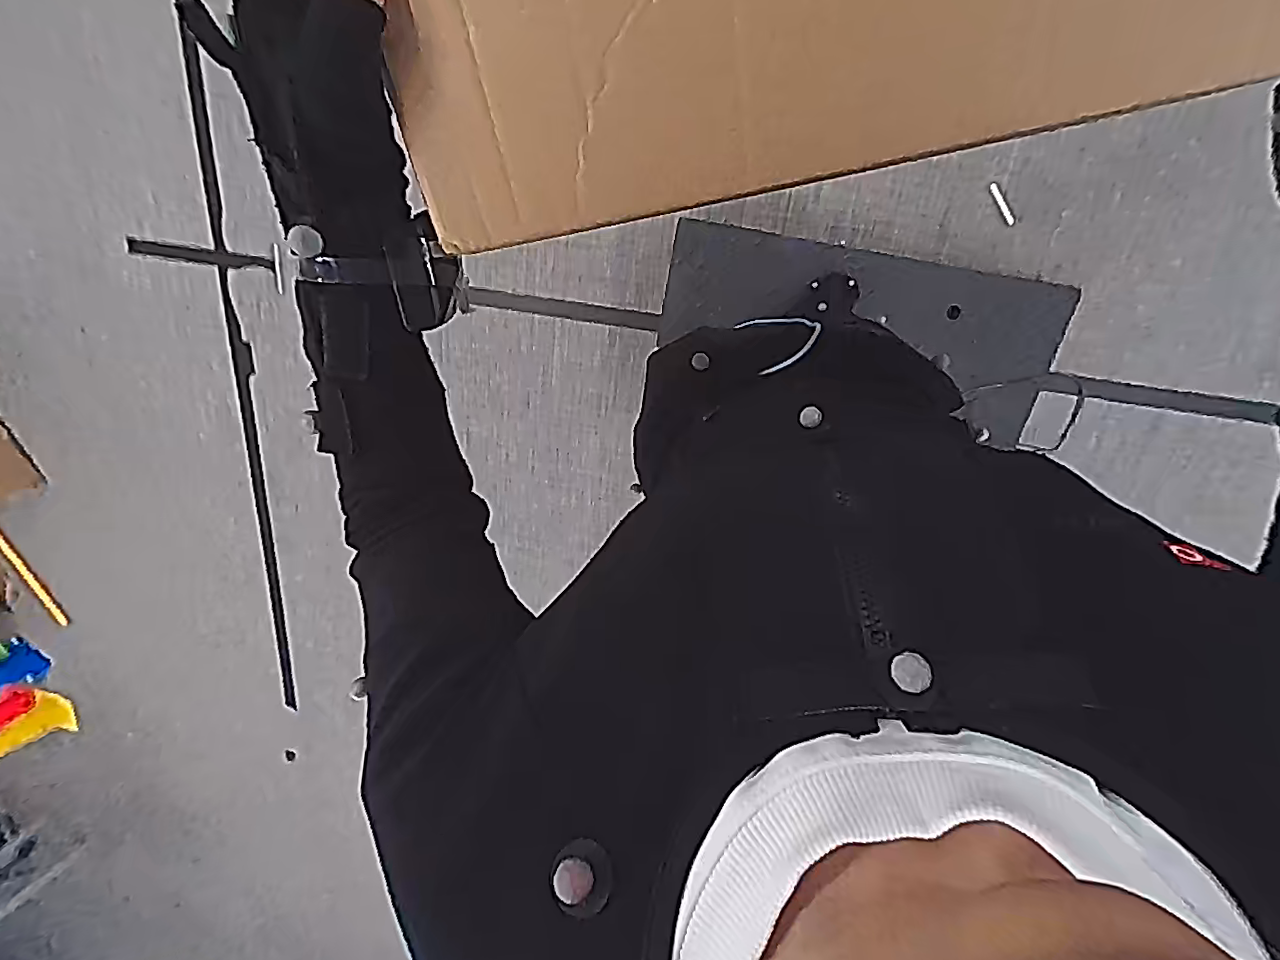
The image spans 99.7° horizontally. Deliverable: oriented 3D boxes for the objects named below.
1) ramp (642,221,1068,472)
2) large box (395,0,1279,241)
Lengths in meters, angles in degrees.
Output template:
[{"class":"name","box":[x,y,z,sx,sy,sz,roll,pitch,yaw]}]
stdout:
[{"class":"ramp","box":[0.530,-0.317,1.375,0.991,0.206,0.509,10,109,6]},{"class":"large box","box":[0.081,-0.361,0.334,0.408,0.320,0.320,-7,117,10]}]
